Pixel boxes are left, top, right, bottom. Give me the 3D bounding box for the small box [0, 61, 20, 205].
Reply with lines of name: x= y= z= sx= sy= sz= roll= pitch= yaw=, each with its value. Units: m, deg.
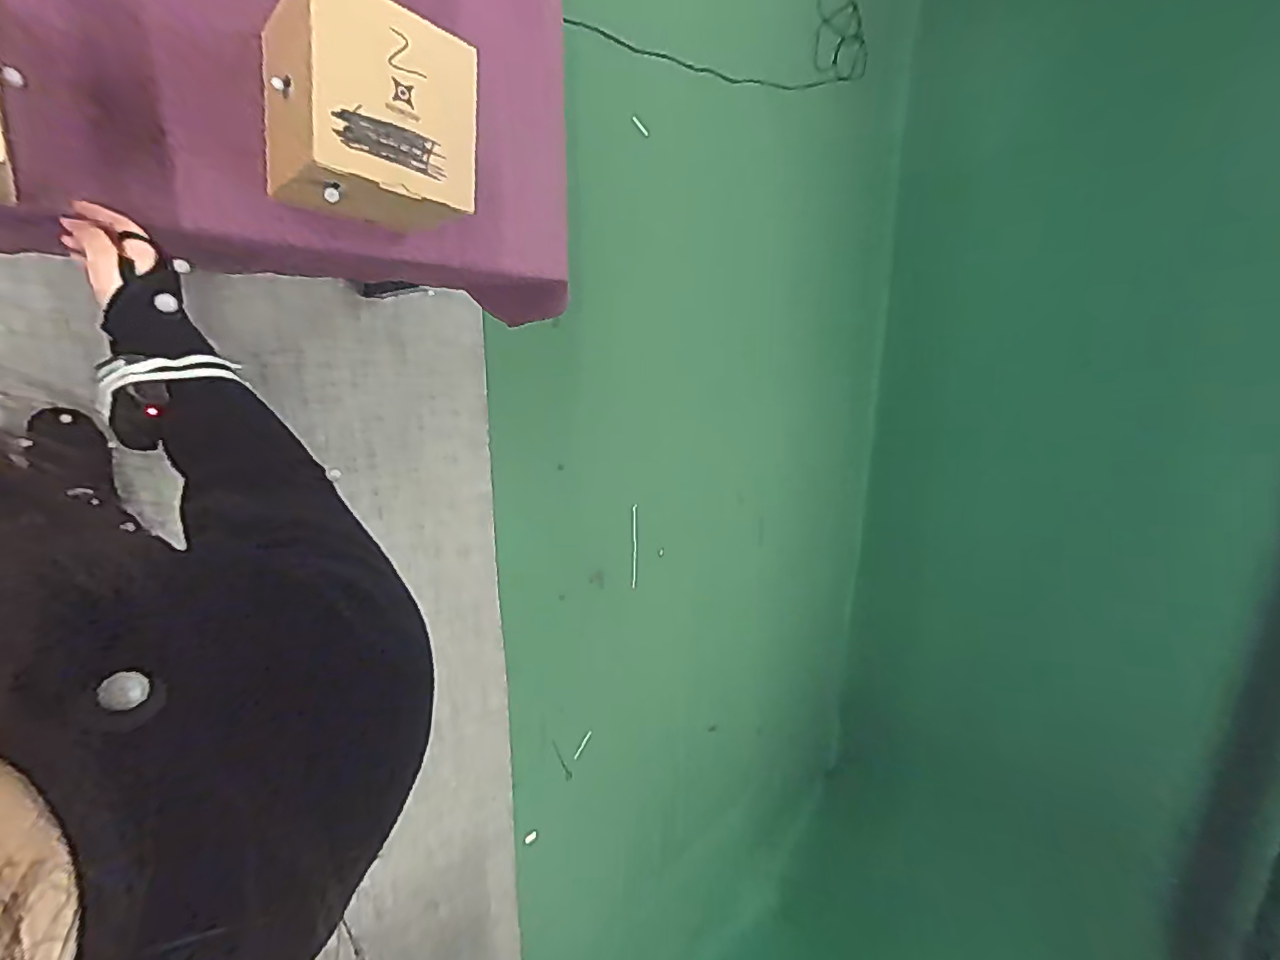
small box: x=-0.549 y=-0.304 z=0.354 sx=0.168 sy=0.176 sz=0.179 roll=-10 pitch=107 yaw=-44
